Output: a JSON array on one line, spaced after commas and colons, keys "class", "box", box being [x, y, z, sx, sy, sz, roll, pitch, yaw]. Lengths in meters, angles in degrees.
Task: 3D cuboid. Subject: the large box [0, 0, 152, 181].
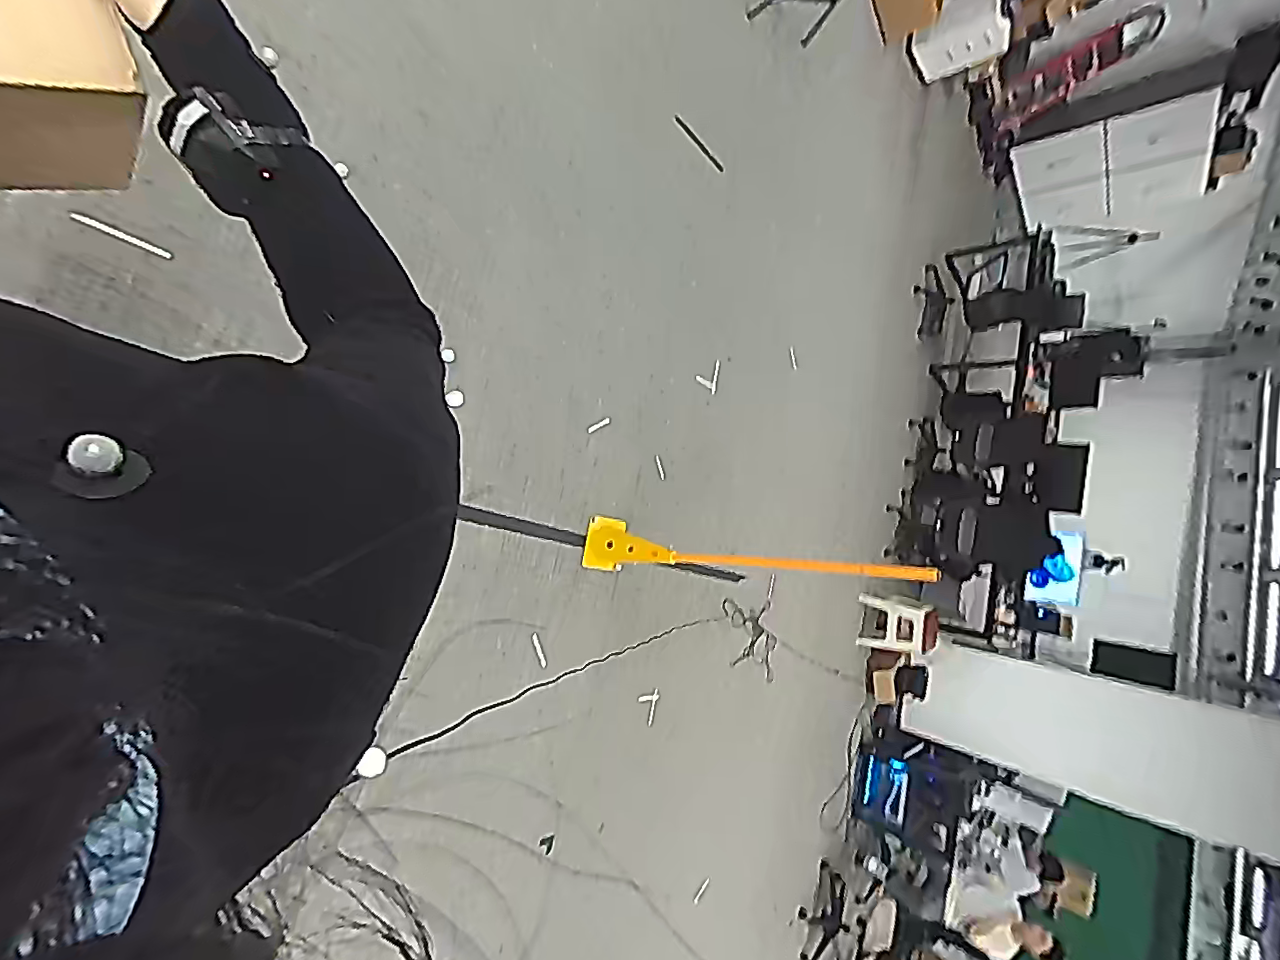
[{"class": "large box", "box": [-0.615, -0.378, 0.322, 0.408, 0.320, 0.320, -25, 115, -38]}]
